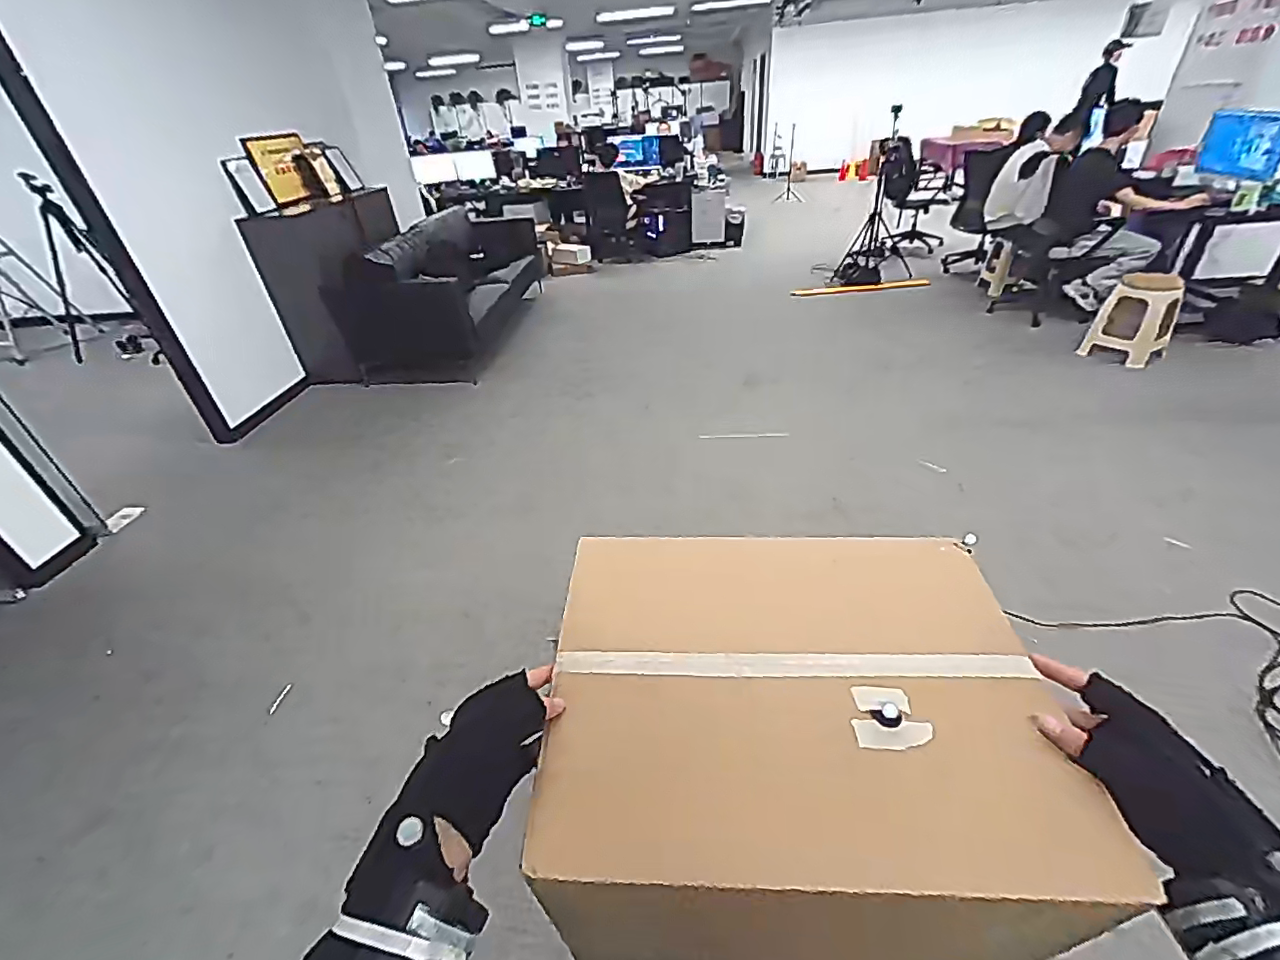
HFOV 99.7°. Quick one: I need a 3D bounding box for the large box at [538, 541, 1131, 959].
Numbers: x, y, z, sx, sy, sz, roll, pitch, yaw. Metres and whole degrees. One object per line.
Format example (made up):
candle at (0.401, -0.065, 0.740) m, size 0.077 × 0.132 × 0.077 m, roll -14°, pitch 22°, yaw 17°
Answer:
large box at (0.136, 0.282, 0.569) m, size 0.408 × 0.320 × 0.320 m, roll -1°, pitch 40°, yaw 4°
